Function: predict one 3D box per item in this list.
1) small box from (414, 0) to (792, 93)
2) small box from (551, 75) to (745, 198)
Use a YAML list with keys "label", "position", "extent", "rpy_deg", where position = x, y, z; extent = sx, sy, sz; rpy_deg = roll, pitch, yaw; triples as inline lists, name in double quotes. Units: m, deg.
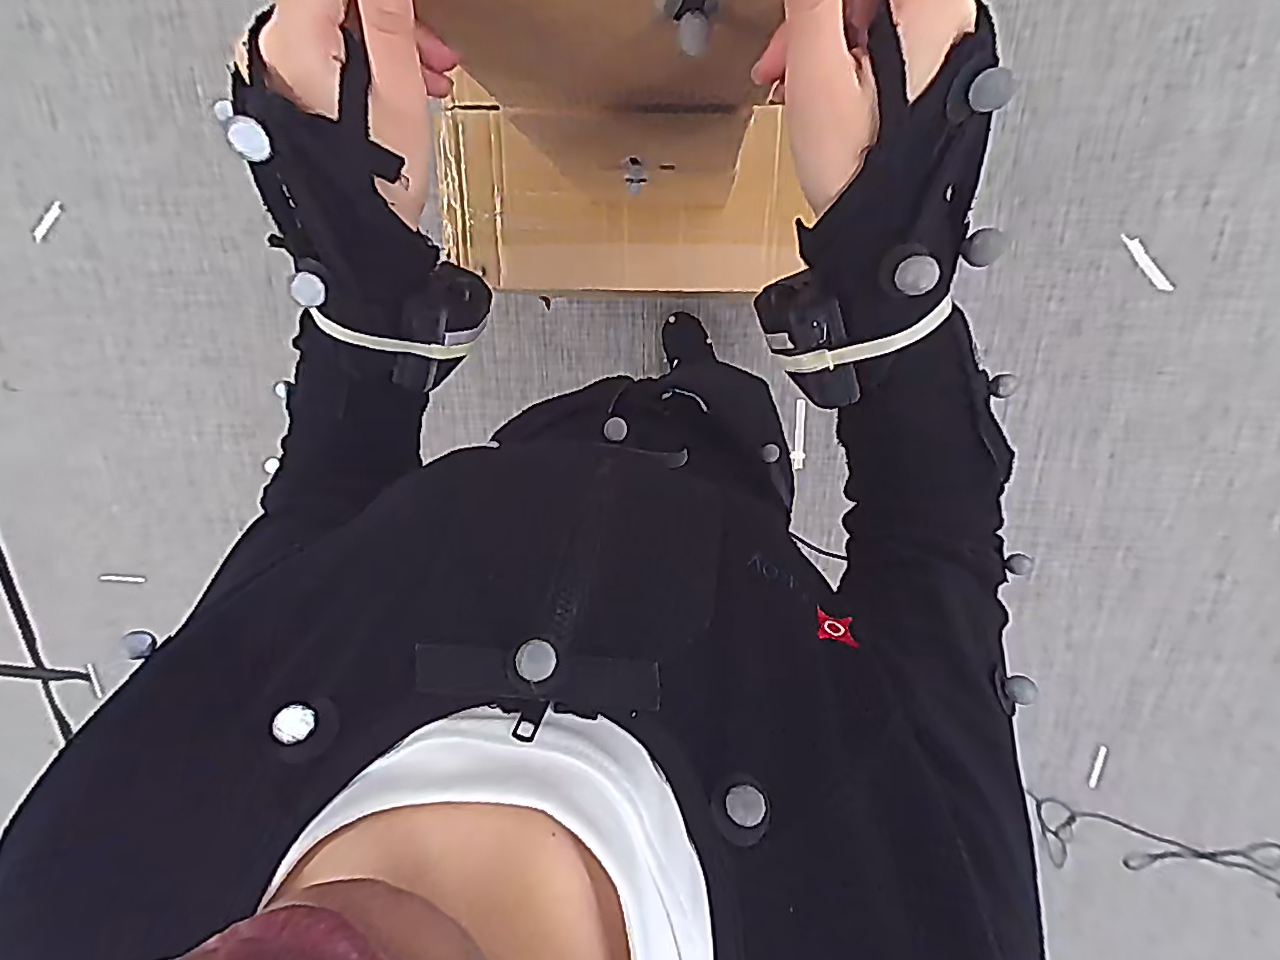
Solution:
- label: "small box"
  position: [-0.011, -0.295, 0.237]
  extent: [0.179, 0.176, 0.168]
  rpy_deg: [3, 108, 5]
- label: "small box"
  position: [0.015, -0.394, 0.550]
  extent: [0.179, 0.176, 0.168]
  rpy_deg: [4, 108, 4]
